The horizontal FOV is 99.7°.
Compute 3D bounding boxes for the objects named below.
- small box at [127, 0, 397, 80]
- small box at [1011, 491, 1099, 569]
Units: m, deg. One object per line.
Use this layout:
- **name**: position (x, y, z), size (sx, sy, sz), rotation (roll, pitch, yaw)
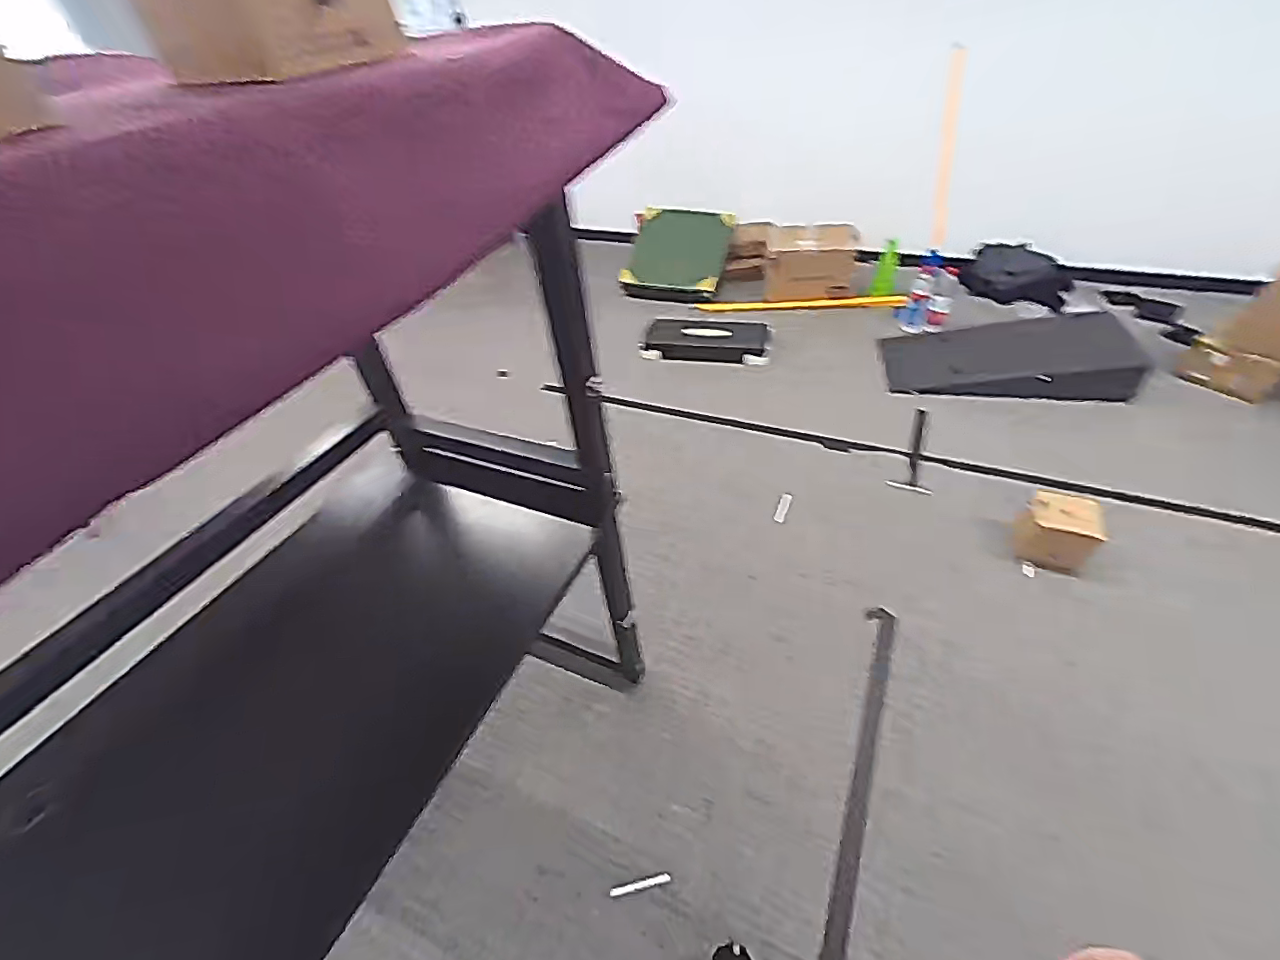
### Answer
- **small box**: position (-0.367, -0.483, 0.496), size (0.179, 0.176, 0.168), rotation (17, 48, 24)
- **small box**: position (1.342, 0.166, 1.760), size (0.179, 0.176, 0.168), rotation (15, 47, 19)
